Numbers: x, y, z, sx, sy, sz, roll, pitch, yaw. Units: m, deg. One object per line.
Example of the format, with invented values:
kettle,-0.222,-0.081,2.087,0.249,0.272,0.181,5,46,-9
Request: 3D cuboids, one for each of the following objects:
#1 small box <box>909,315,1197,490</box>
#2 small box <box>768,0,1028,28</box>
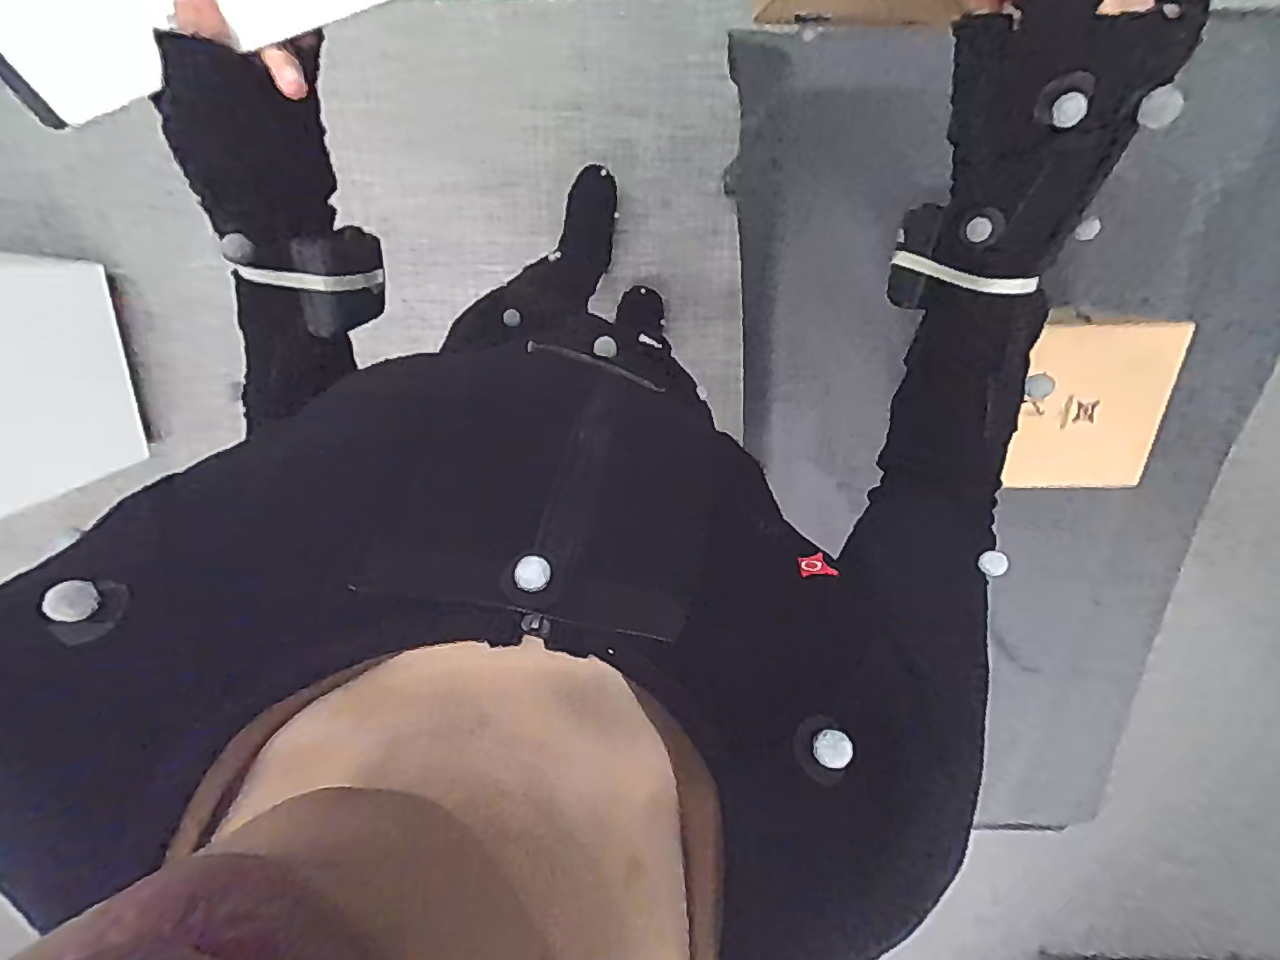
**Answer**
small box,0.440,-0.095,0.613,0.179,0.176,0.168,-1,111,1
small box,0.161,-0.352,0.268,0.168,0.176,0.179,-2,119,-4
